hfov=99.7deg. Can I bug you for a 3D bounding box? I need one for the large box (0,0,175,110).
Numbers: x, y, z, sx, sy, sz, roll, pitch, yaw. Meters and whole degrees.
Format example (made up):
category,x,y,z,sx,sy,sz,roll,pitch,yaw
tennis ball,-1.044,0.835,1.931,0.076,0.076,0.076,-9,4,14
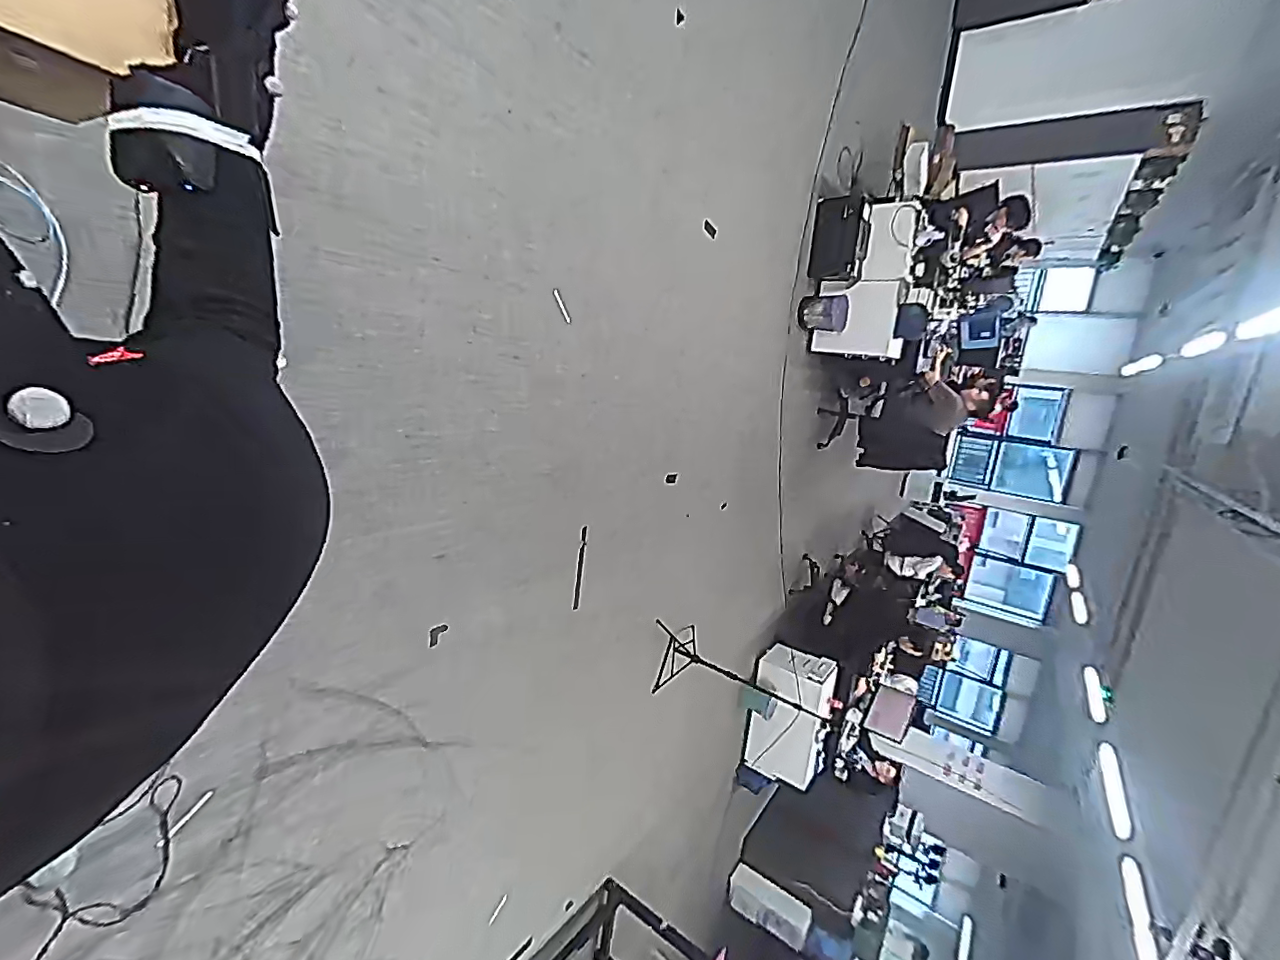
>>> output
category,x,y,z,sx,sy,sz,roll,pitch,yaw
large box,-0.540,-0.460,0.275,0.408,0.320,0.320,-5,112,-56
